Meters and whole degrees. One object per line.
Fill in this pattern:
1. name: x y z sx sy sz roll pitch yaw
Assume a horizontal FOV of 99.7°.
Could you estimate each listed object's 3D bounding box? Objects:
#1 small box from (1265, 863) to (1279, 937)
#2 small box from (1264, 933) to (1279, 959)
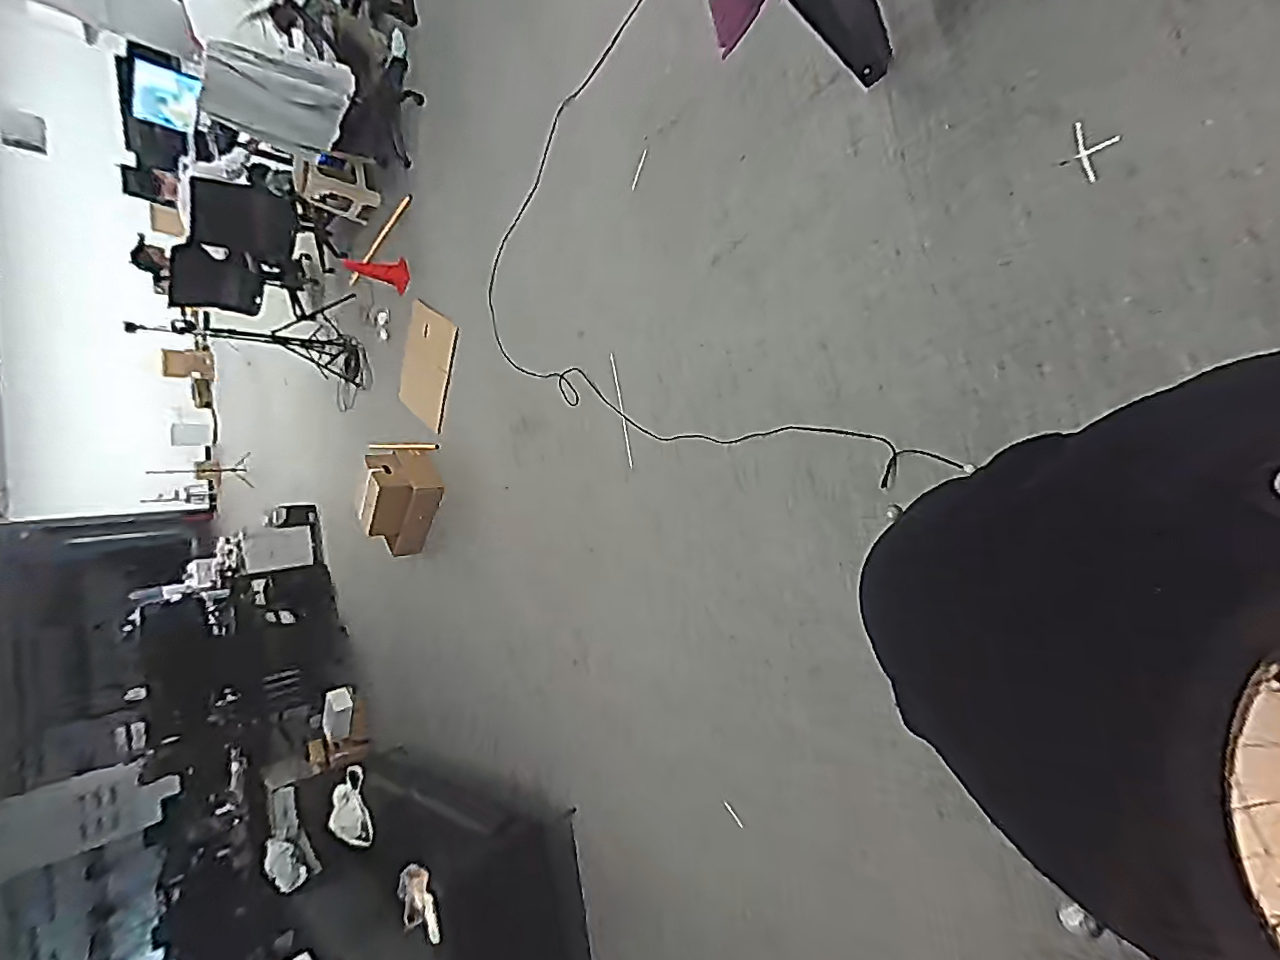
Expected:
1. small box: 0.962 0.661 0.713 0.168 0.176 0.179 -5 92 46
2. small box: 0.839 0.666 0.607 0.179 0.176 0.168 -4 92 46
